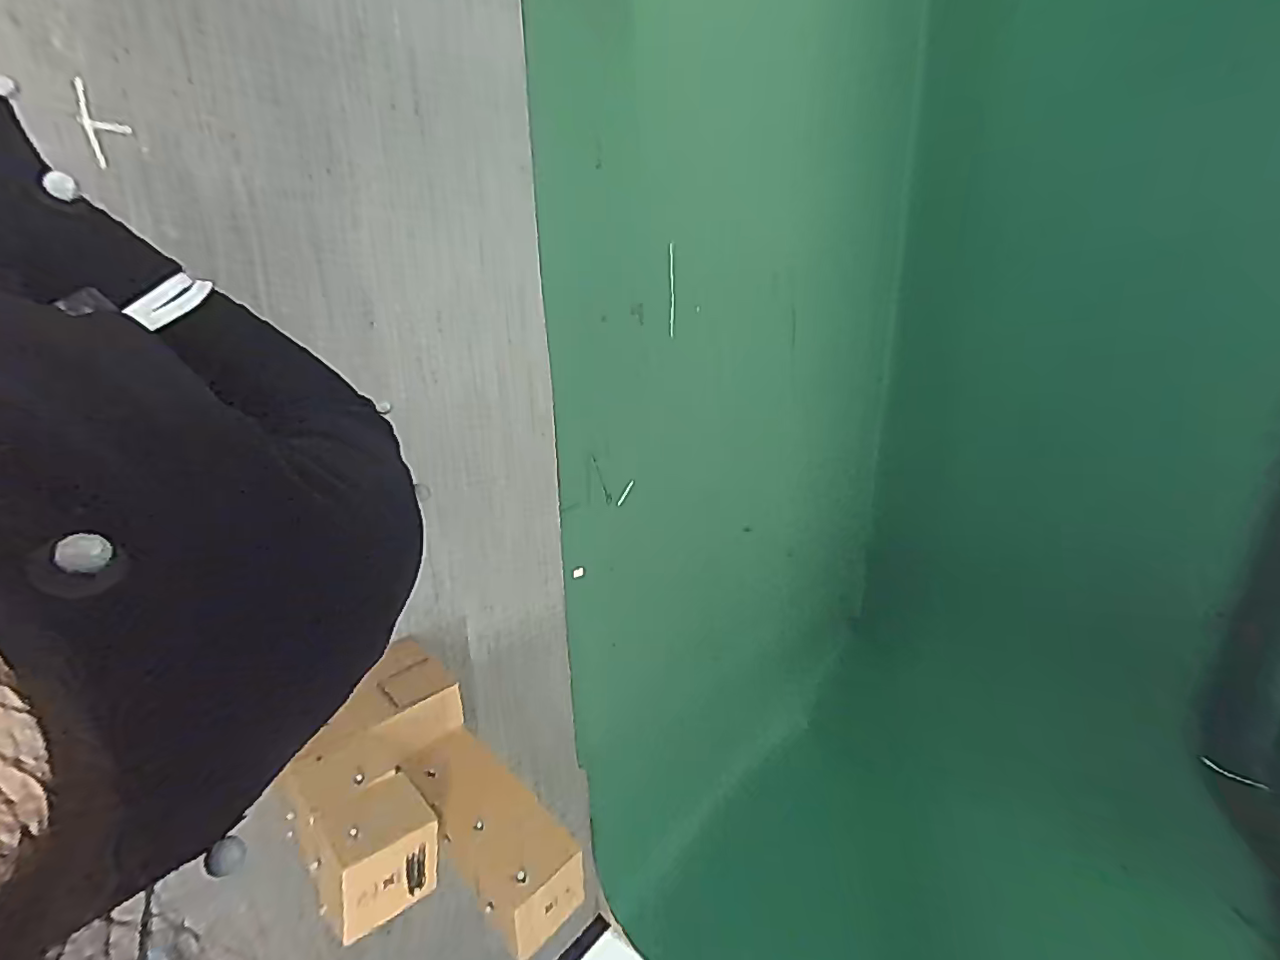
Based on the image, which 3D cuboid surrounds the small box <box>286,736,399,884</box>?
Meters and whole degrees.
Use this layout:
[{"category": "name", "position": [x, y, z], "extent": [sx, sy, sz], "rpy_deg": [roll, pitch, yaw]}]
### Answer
[{"category": "small box", "position": [-0.644, 0.702, 1.172], "extent": [0.168, 0.176, 0.179], "rpy_deg": [-14, 112, -45]}]

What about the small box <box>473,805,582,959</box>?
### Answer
[{"category": "small box", "position": [-0.247, 0.861, 1.168], "extent": [0.179, 0.176, 0.168], "rpy_deg": [-19, 118, -44]}]

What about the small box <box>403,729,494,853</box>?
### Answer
[{"category": "small box", "position": [-0.485, 0.782, 1.379], "extent": [0.179, 0.176, 0.168], "rpy_deg": [-22, 119, -43]}]

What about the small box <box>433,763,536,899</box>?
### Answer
[{"category": "small box", "position": [-0.361, 0.818, 1.279], "extent": [0.179, 0.176, 0.168], "rpy_deg": [-20, 118, -42]}]
